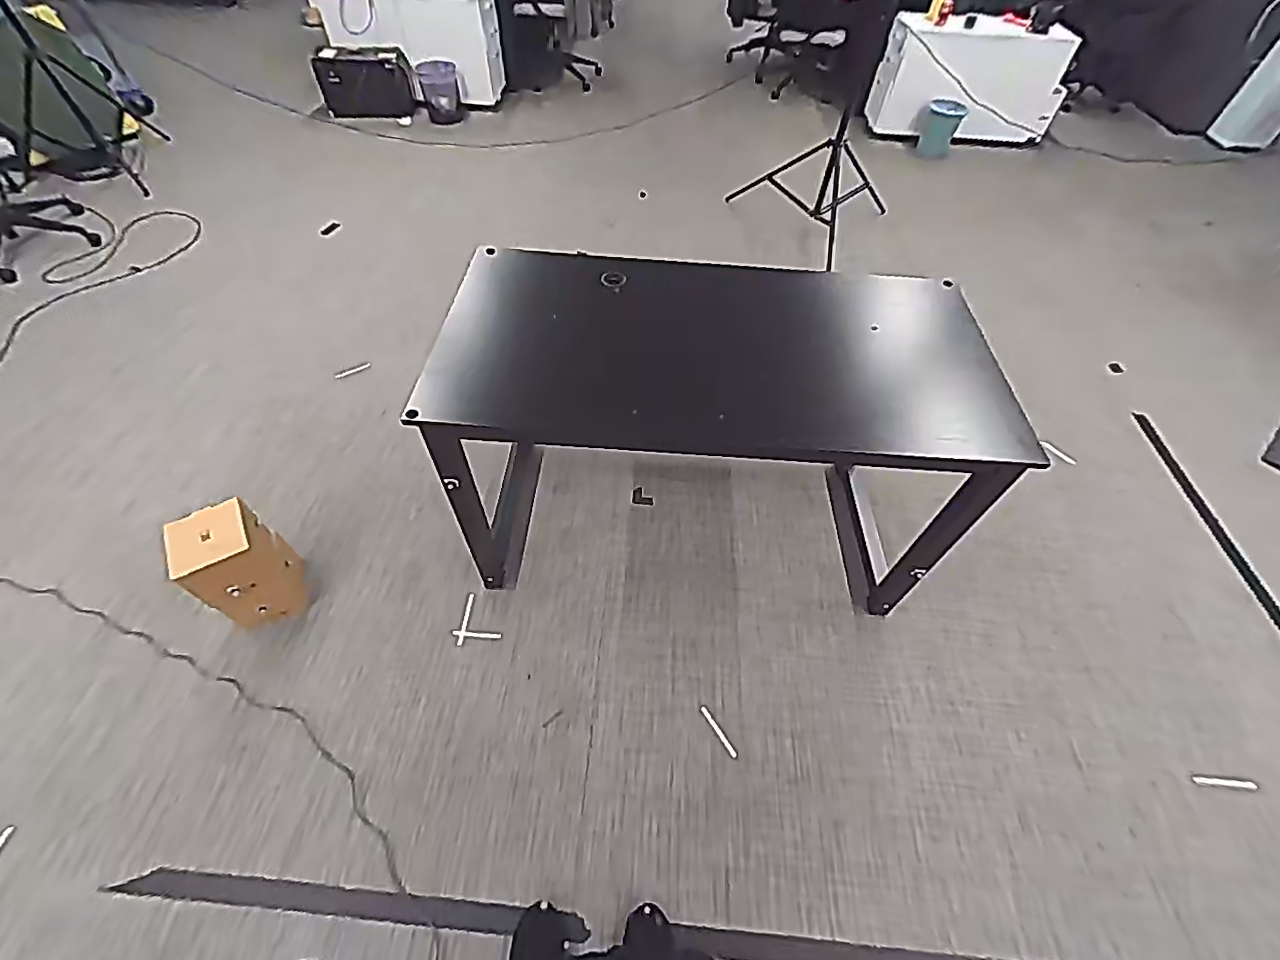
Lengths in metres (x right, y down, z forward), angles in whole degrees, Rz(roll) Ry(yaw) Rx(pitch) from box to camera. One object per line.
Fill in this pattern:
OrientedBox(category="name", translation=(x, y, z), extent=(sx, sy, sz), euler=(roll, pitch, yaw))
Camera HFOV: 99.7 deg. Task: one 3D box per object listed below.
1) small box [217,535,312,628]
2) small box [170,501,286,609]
OrientedBox(category="small box", translation=(-1.039, 0.288, 1.498), extent=(0.168, 0.176, 0.179), euler=(-21, 56, -19))
OrientedBox(category="small box", translation=(-1.036, 0.192, 1.367), extent=(0.168, 0.176, 0.179), euler=(-27, 59, -20))
